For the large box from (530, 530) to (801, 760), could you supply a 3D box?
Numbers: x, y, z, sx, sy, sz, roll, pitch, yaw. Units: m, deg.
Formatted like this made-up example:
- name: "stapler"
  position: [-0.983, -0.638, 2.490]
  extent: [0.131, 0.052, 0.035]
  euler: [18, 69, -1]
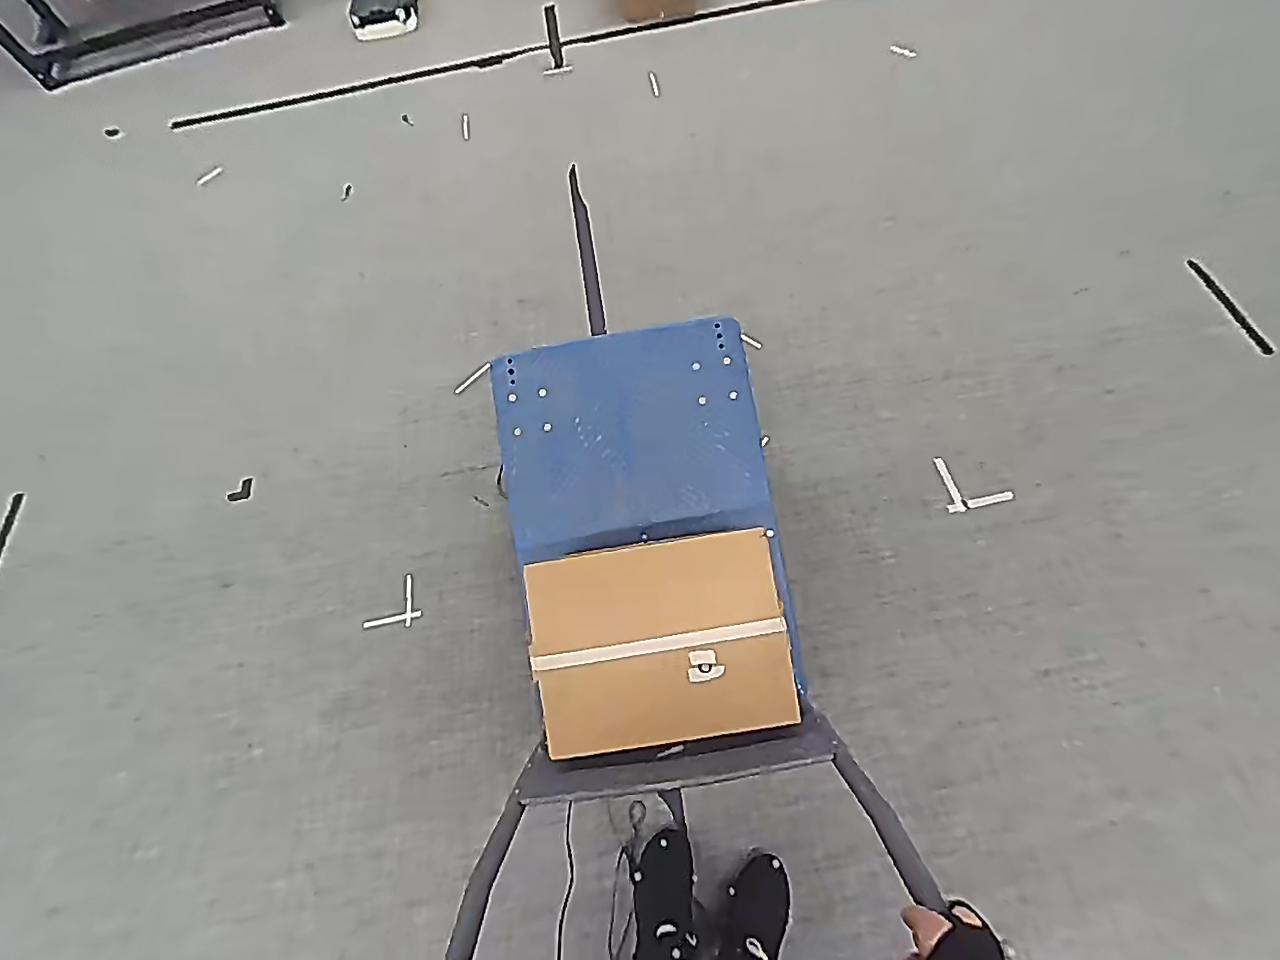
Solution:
- name: "large box"
  position: [0.040, 0.281, 1.026]
  extent: [0.408, 0.320, 0.320]
  euler: [-9, 85, 1]
